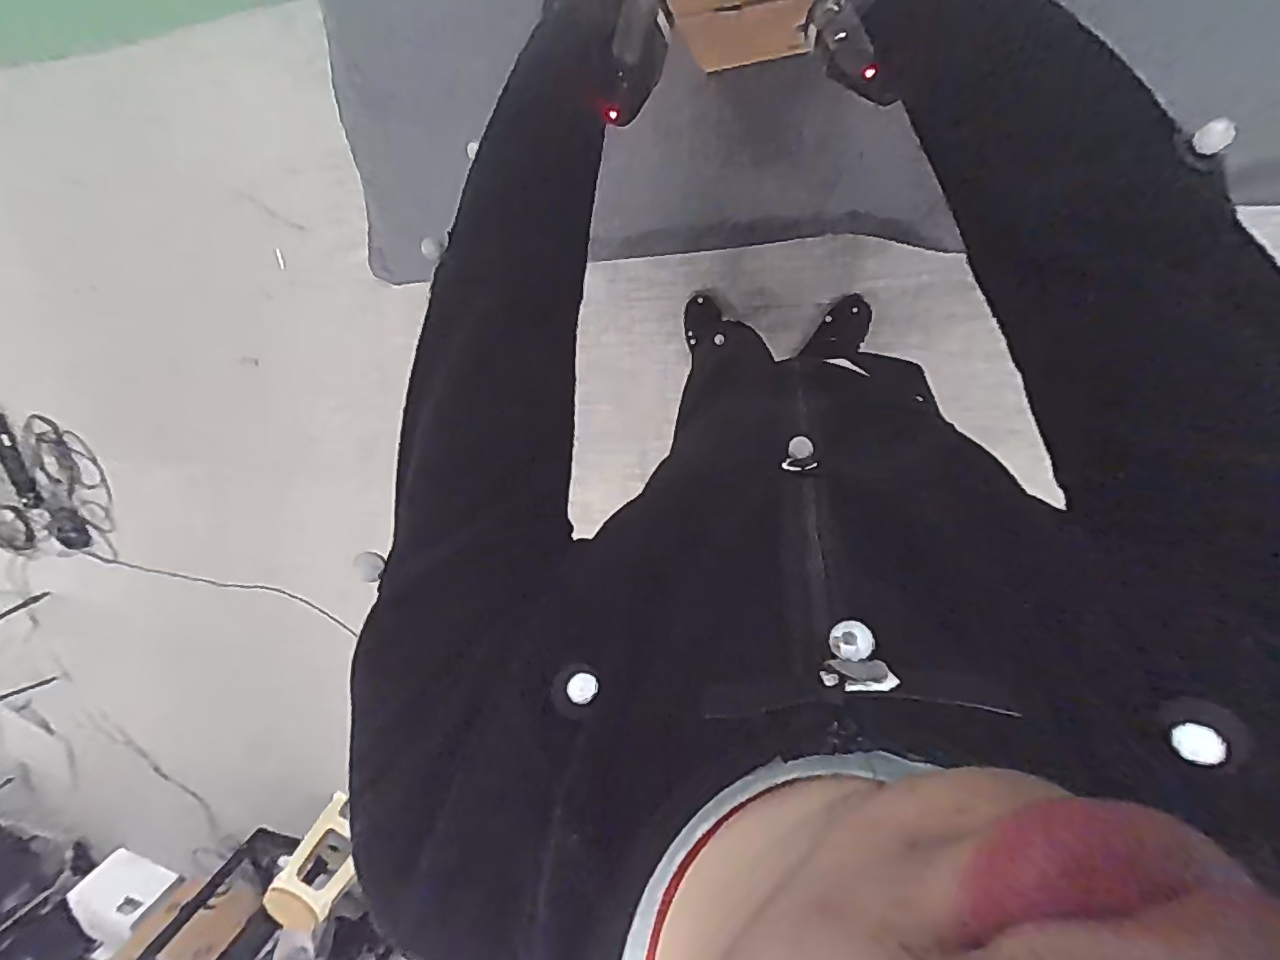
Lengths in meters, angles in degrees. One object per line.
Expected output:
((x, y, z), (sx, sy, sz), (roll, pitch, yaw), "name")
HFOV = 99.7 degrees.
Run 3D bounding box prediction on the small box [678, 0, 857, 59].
((0.126, -0.534, 0.516), (0.168, 0.176, 0.179), (0, 112, 15), "small box")
